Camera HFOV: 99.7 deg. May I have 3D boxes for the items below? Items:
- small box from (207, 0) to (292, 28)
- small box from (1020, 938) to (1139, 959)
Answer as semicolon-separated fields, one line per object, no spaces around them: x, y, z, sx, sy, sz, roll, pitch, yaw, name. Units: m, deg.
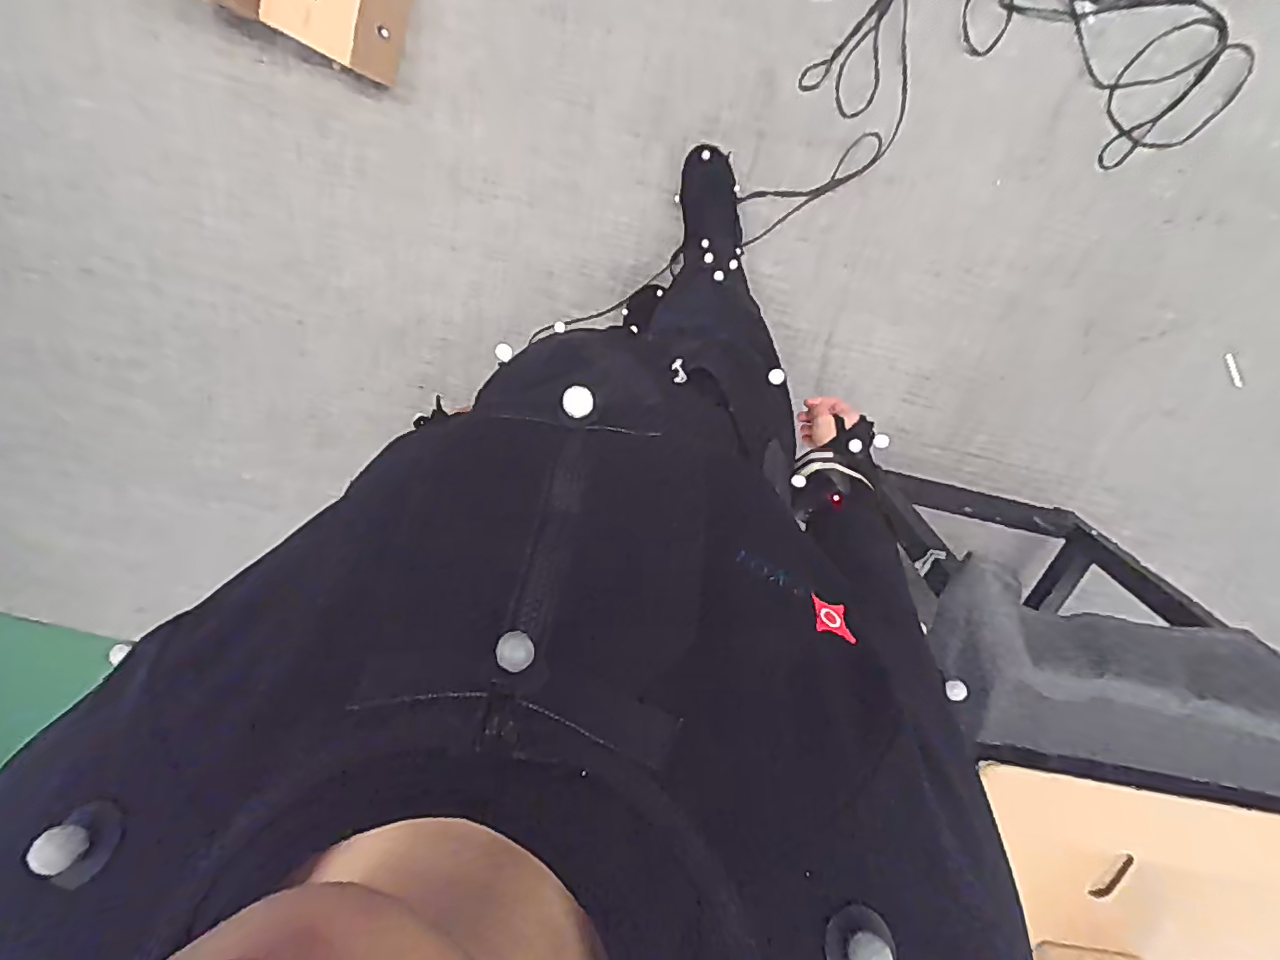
-0.744;-0.945;0.952;0.168;0.176;0.179;17;116;-4;small box
0.637;0.786;0.751;0.168;0.176;0.179;9;116;-4;small box
